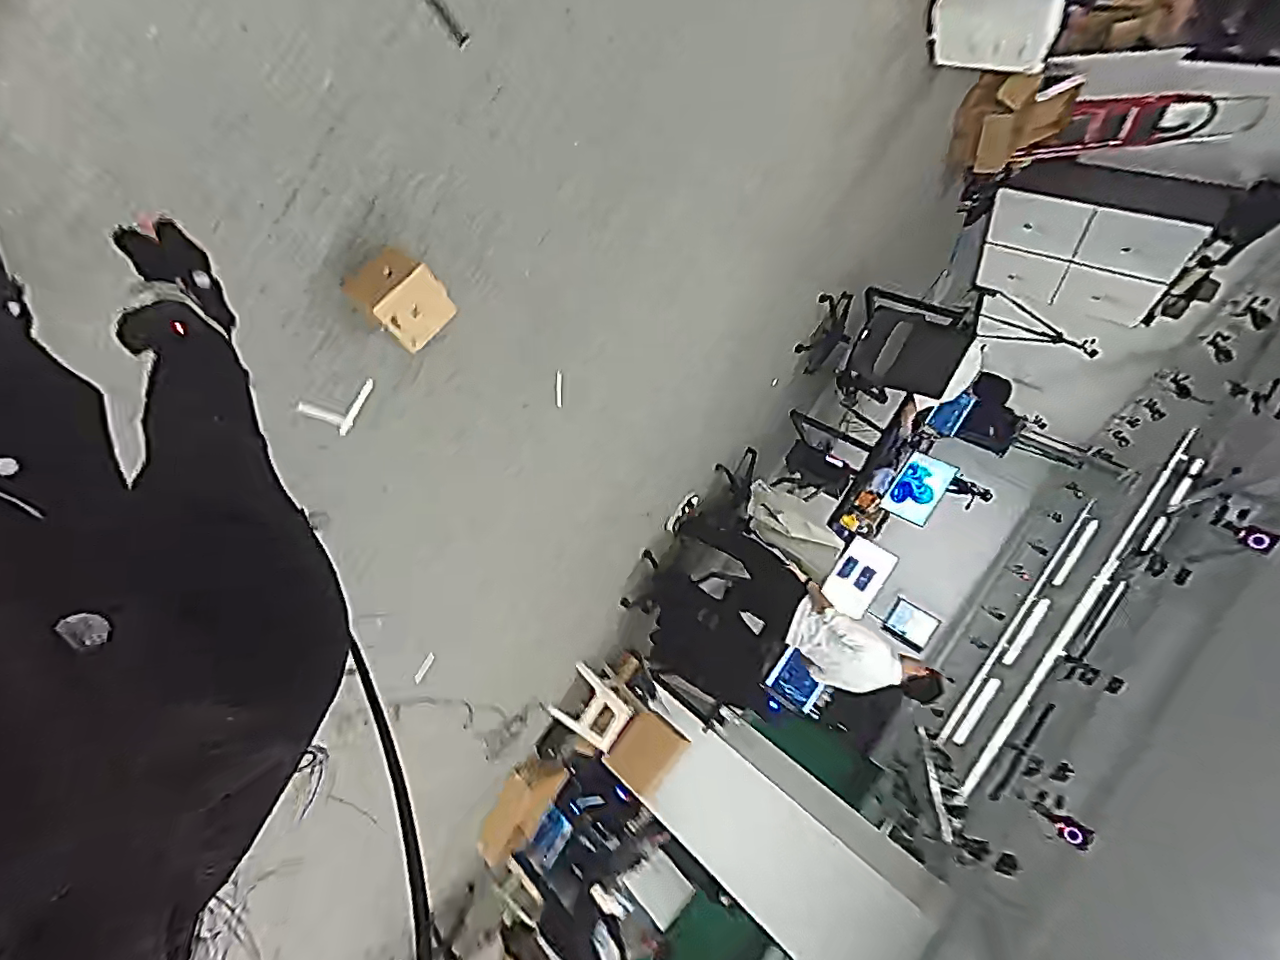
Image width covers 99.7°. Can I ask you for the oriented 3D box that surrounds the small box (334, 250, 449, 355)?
[{"bbox_3d":[-0.646,-0.466,1.405,0.179,0.176,0.168,-51,151,-14],"label":"small box"}]
